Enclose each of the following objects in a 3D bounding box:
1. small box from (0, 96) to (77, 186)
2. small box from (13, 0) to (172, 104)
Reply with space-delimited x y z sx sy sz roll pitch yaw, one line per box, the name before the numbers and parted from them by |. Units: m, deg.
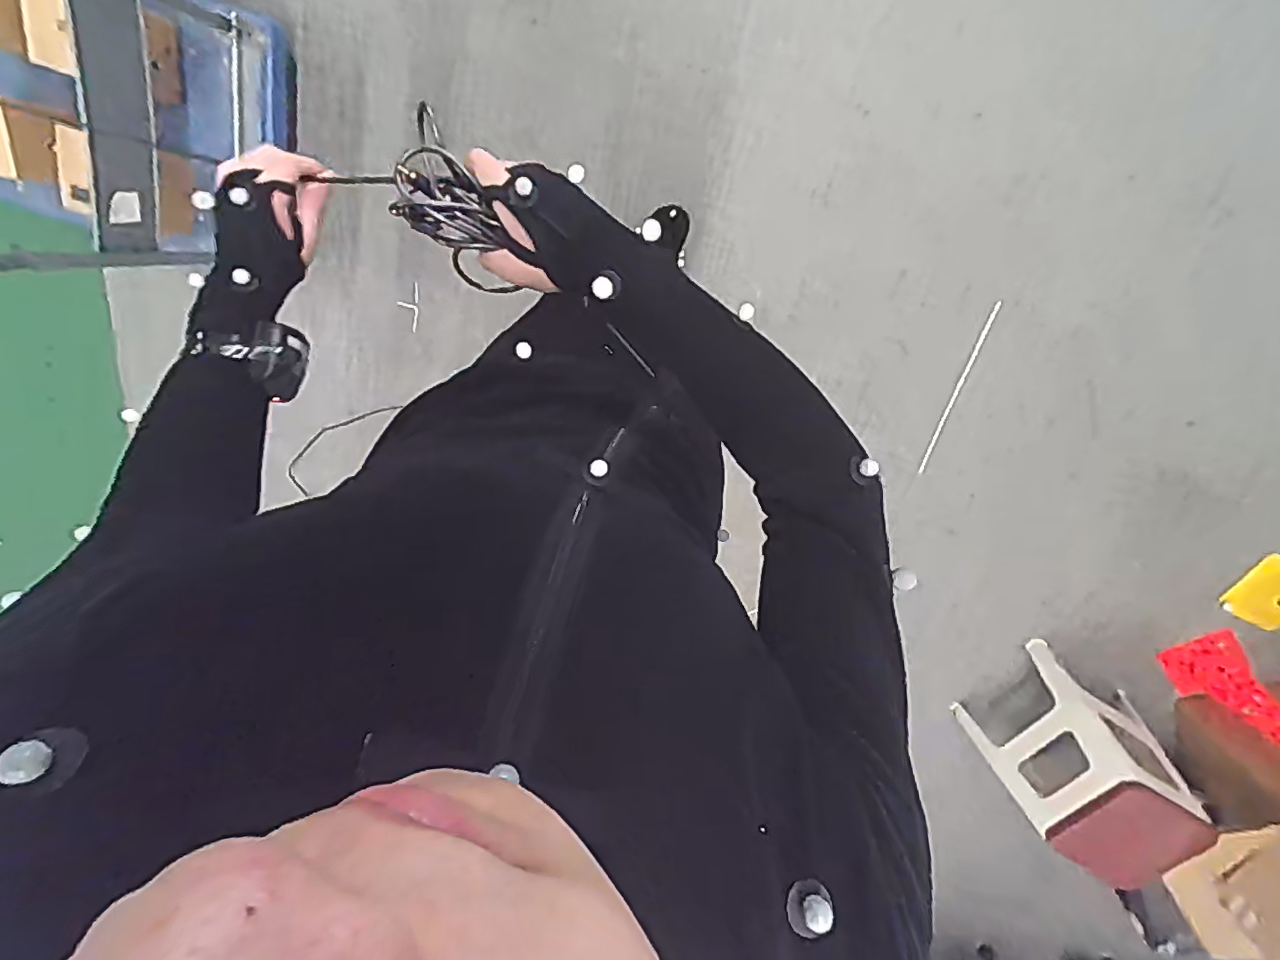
small box | -1.460 -0.788 1.243 0.179 0.176 0.168 14 113 1
small box | -1.153 -0.932 1.147 0.179 0.176 0.168 18 114 -2
